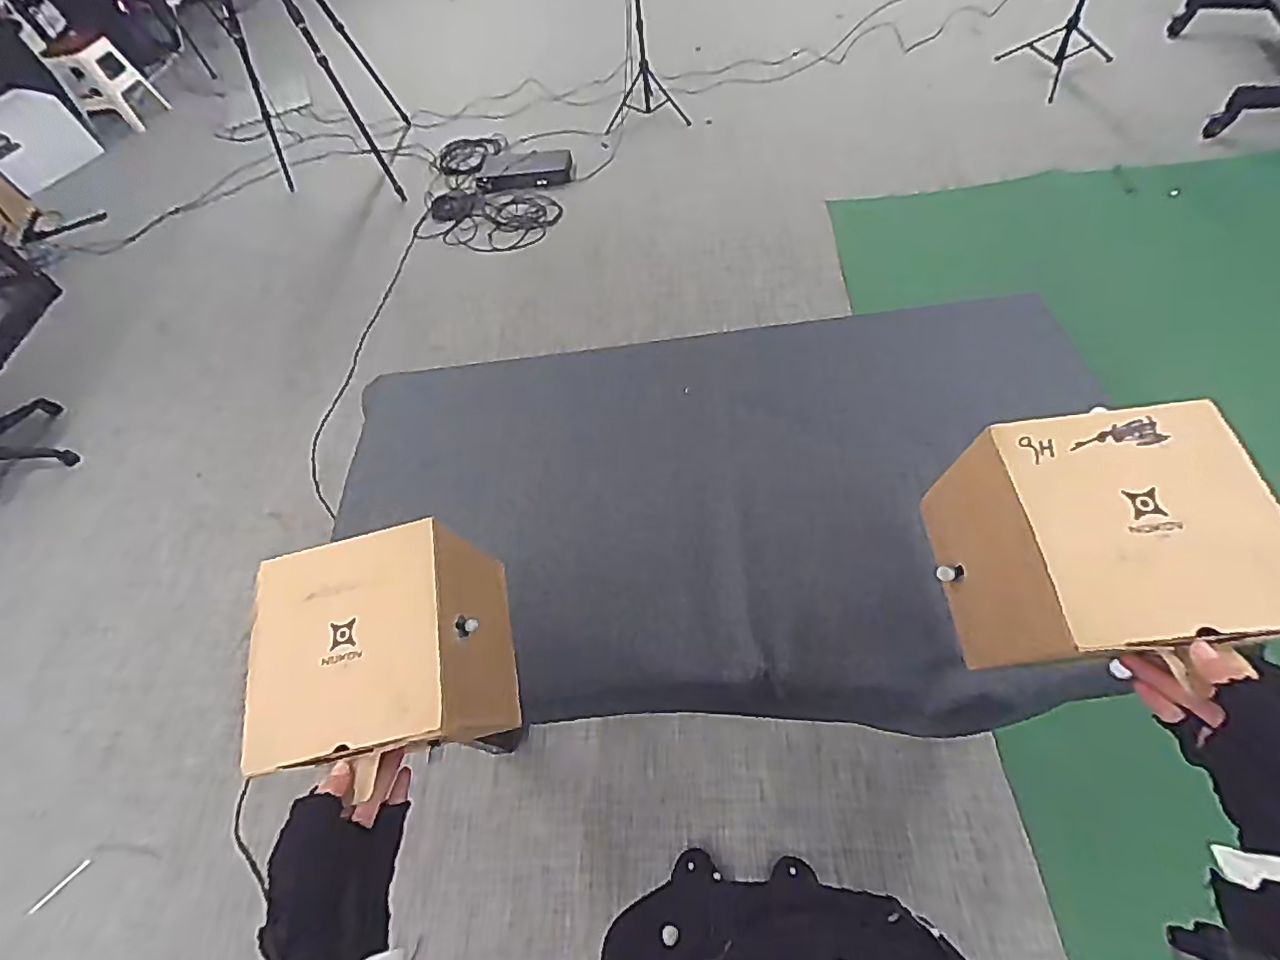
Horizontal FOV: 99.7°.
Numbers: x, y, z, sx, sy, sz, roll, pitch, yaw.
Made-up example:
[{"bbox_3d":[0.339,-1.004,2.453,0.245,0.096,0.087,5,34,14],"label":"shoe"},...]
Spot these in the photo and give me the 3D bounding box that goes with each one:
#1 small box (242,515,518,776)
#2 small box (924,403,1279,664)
[{"bbox_3d":[-0.225,0.156,0.507,0.168,0.176,0.179,-15,65,3],"label":"small box"},{"bbox_3d":[0.371,0.059,0.458,0.168,0.176,0.179,-6,66,5],"label":"small box"}]
